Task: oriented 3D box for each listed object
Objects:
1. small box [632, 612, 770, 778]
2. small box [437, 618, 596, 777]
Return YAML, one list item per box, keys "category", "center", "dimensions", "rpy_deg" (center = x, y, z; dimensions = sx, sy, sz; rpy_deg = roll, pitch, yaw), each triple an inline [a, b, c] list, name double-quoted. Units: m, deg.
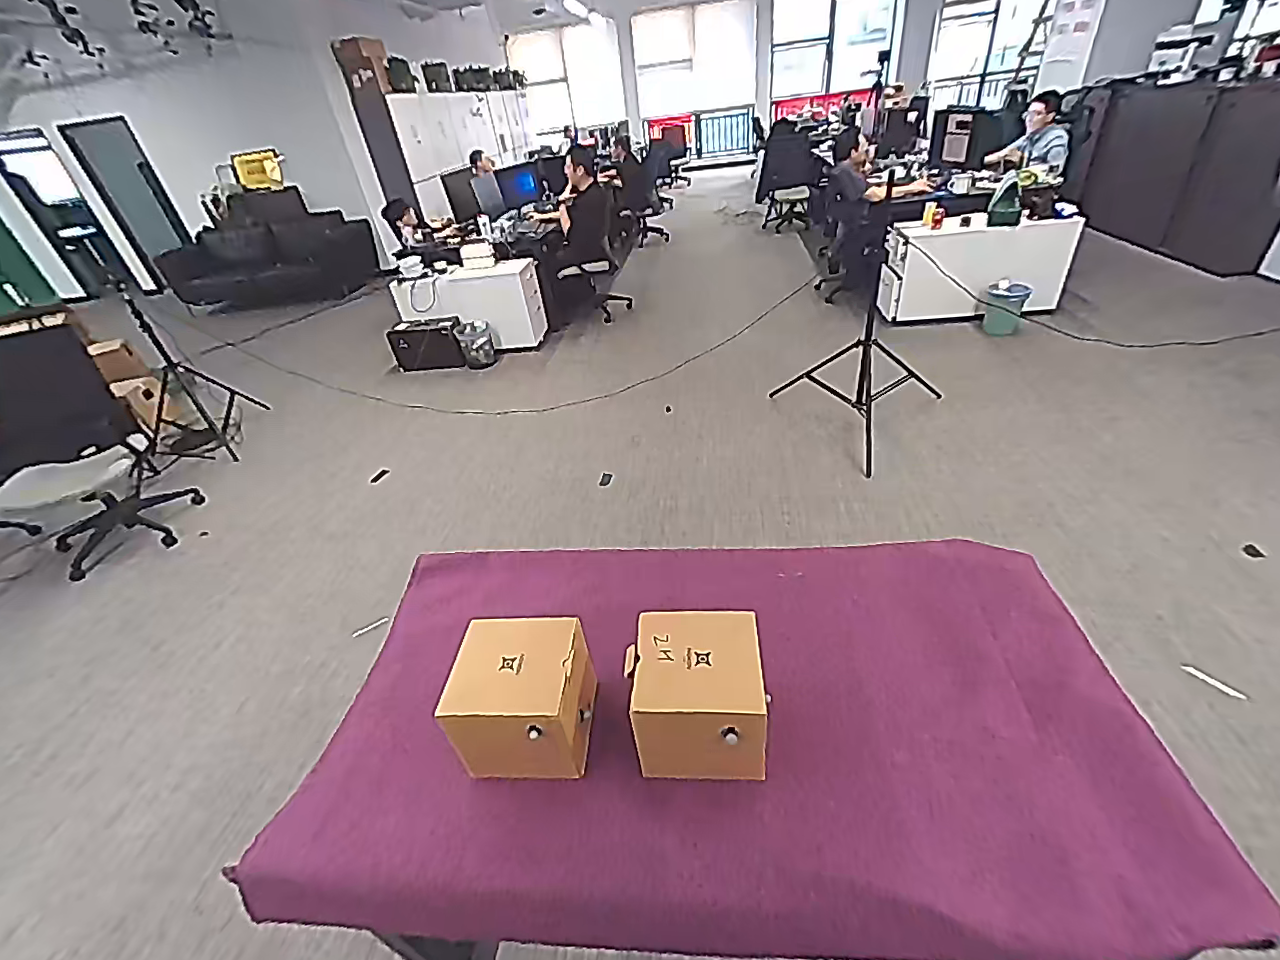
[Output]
- category: "small box"
  center: [0.091, 0.313, 0.791]
  dimensions: [0.179, 0.176, 0.168]
  rpy_deg: [-3, 35, 8]
- category: "small box"
  center: [-0.174, 0.331, 0.823]
  dimensions: [0.179, 0.176, 0.168]
  rpy_deg: [-3, 35, 6]
